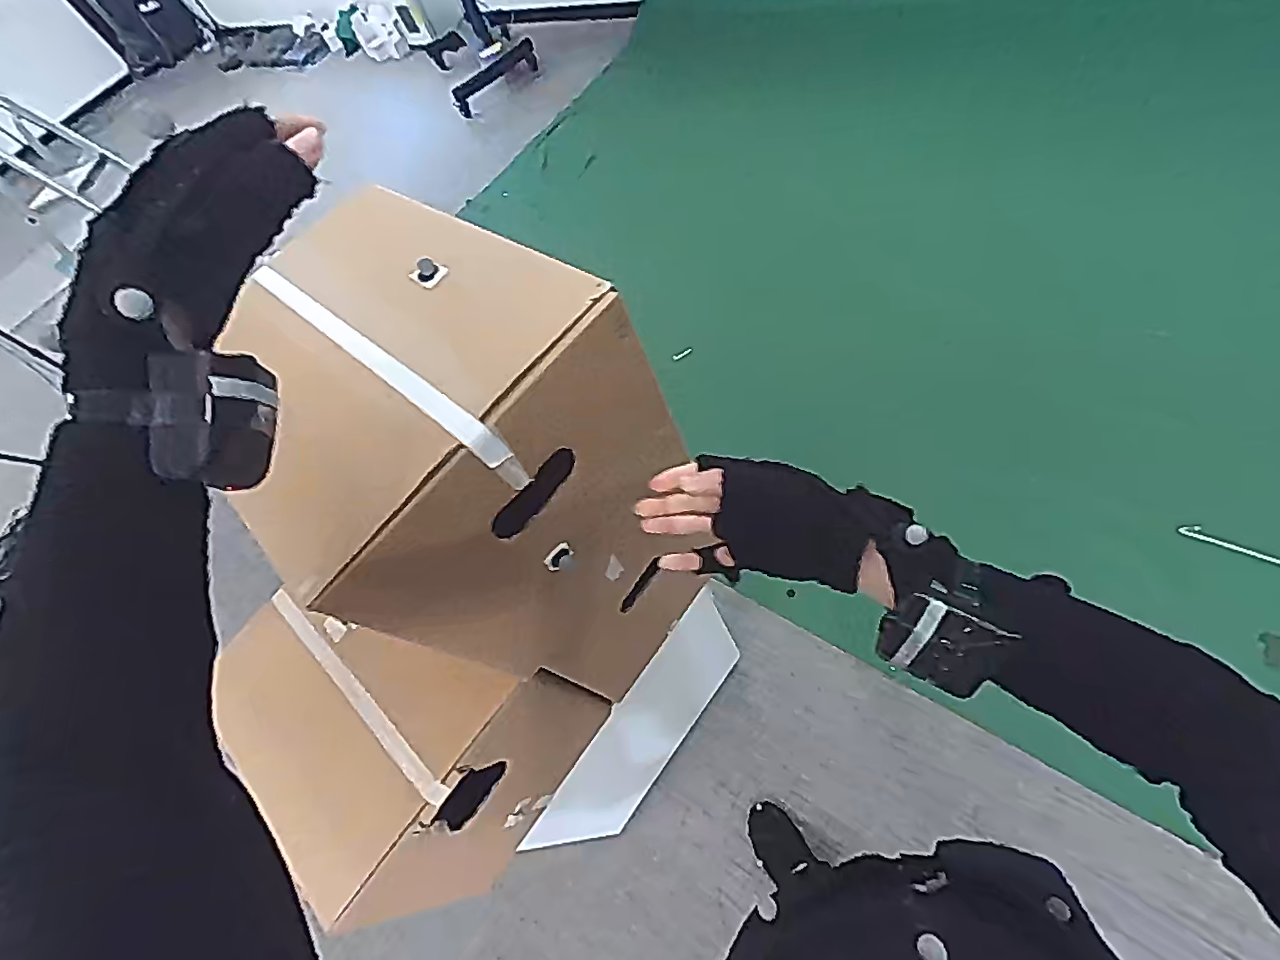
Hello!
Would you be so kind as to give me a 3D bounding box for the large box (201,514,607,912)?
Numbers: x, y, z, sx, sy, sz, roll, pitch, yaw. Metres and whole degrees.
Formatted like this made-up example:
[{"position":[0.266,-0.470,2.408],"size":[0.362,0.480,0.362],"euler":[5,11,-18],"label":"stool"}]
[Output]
[{"position":[-0.326,0.319,0.805],"size":[0.408,0.320,0.320],"euler":[29,72,31],"label":"large box"}]
